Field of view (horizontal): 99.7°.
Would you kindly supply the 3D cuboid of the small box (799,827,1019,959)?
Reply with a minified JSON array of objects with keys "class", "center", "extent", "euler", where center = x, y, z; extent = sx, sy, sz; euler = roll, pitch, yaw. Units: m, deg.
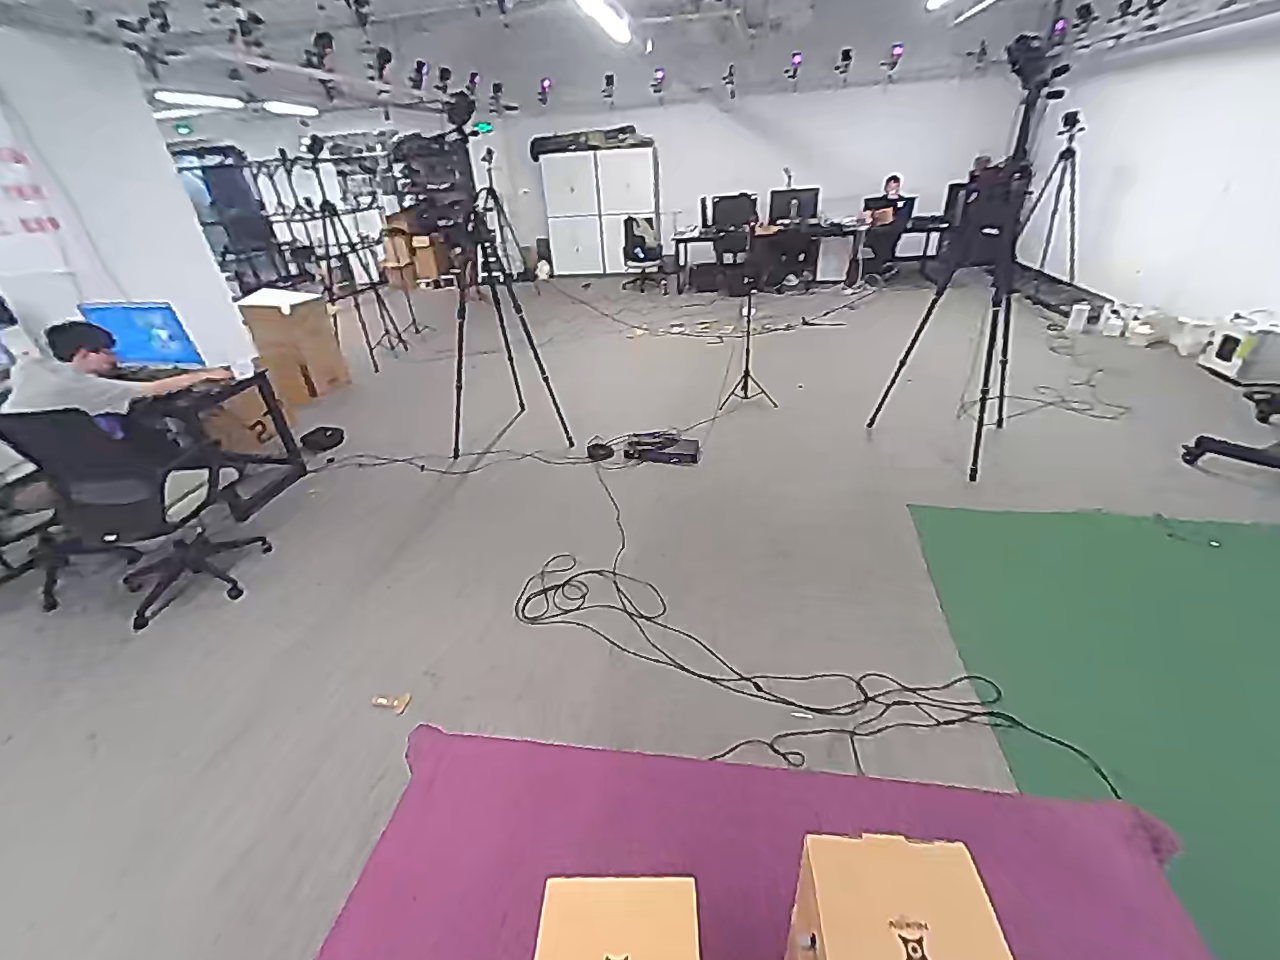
[{"class":"small box","center":[0.257,0.483,0.534],"extent":[0.168,0.176,0.179],"euler":[-1,30,6]}]
